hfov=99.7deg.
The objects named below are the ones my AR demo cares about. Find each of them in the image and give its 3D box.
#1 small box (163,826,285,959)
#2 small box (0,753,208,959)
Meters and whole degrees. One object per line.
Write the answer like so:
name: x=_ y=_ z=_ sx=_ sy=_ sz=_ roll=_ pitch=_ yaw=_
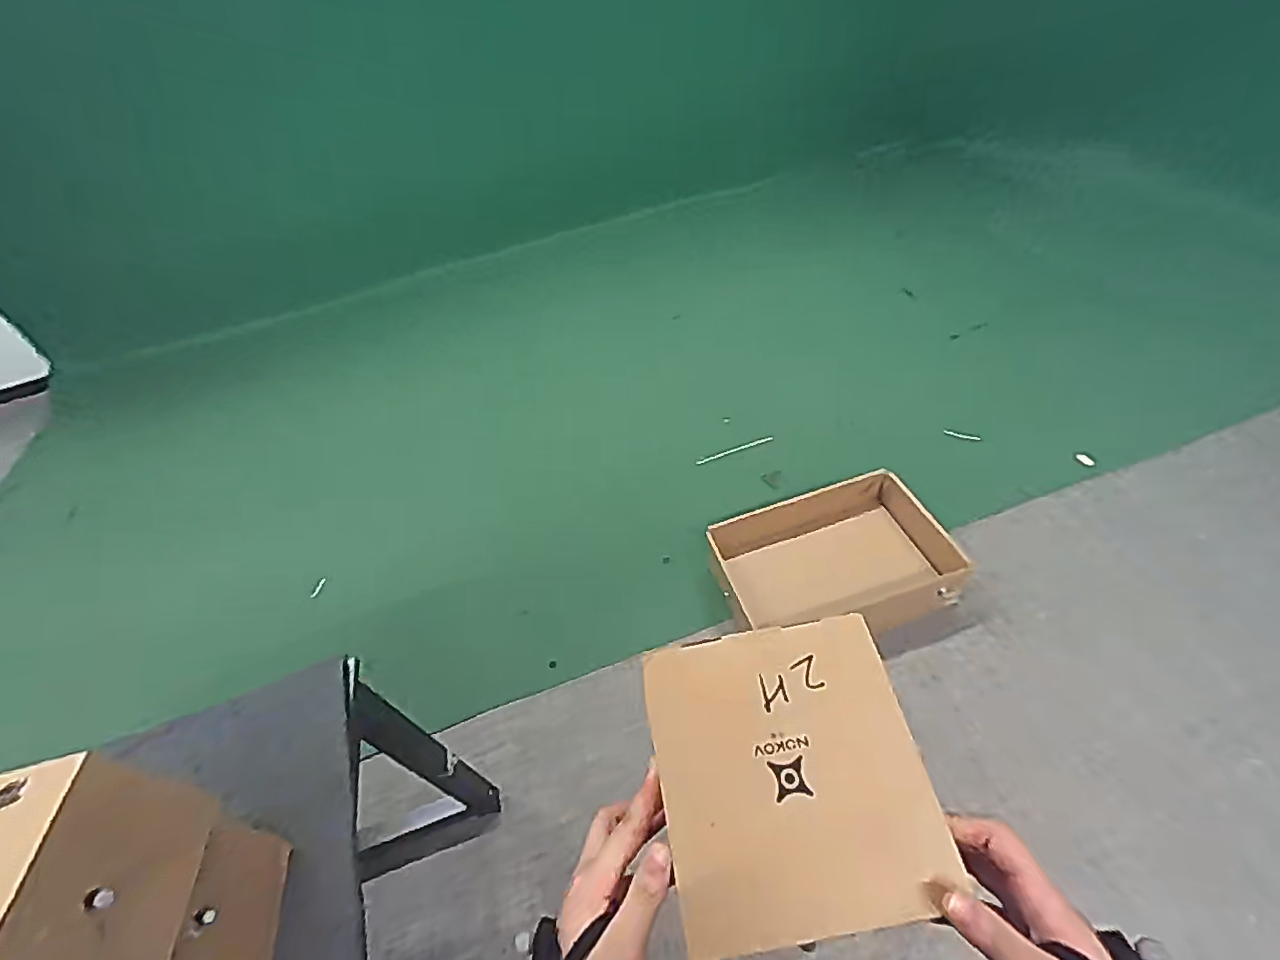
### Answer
small box: x=-0.516 y=0.492 z=0.572 sx=0.168 sy=0.176 sz=0.179 roll=-16 pitch=45 yaw=-4
small box: x=-0.529 y=0.368 z=0.464 sx=0.168 sy=0.176 sz=0.179 roll=-14 pitch=46 yaw=-2
